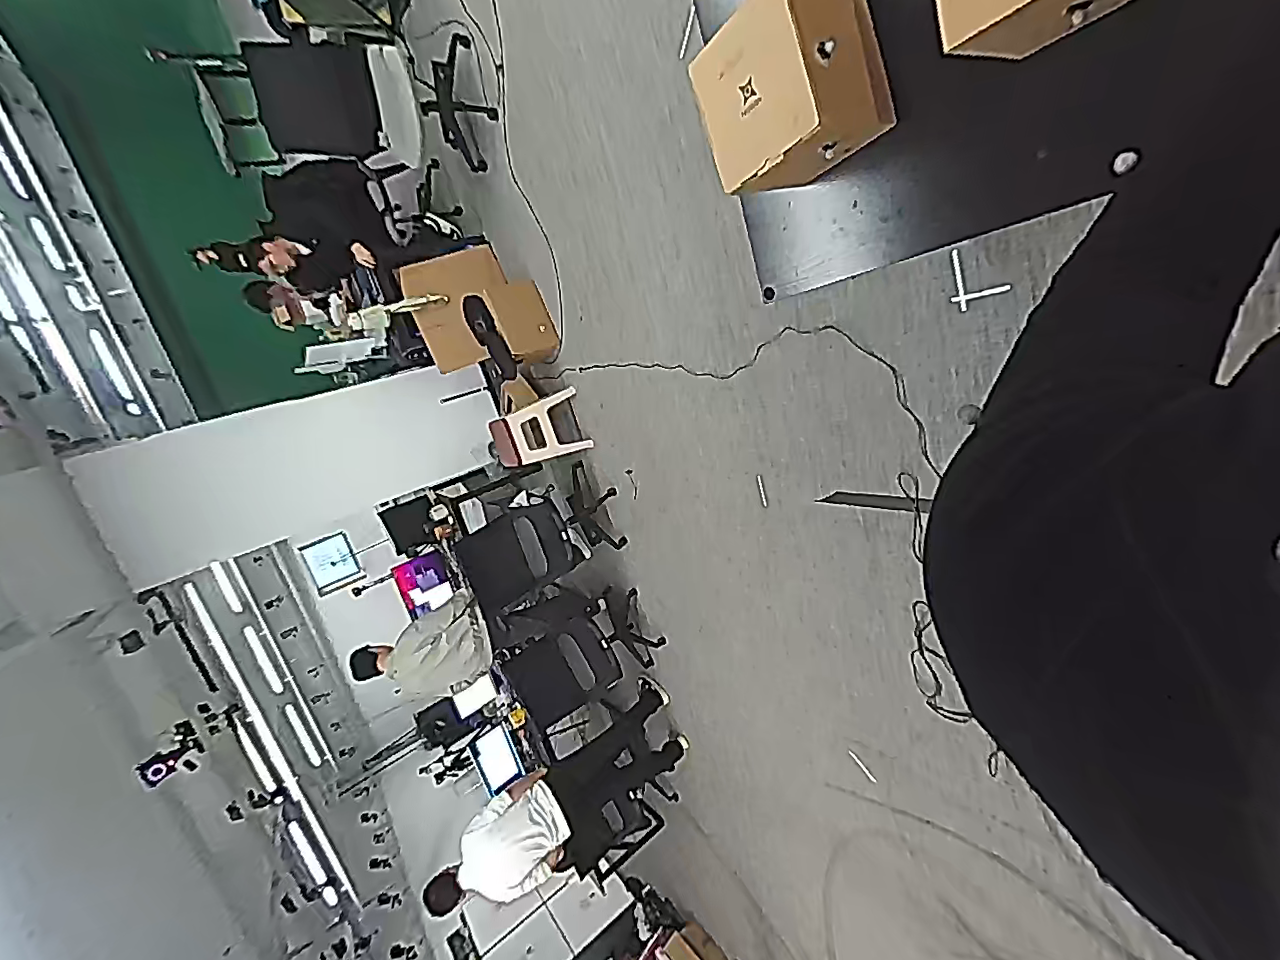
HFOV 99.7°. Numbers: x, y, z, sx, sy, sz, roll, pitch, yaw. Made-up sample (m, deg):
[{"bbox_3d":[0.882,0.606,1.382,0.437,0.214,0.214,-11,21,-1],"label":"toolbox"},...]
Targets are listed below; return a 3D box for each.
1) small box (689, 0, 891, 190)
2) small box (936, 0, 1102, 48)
[{"bbox_3d":[0.199,-0.515,0.711,0.168,0.176,0.179,-6,106,58],"label":"small box"},{"bbox_3d":[0.364,-0.505,0.451,0.168,0.176,0.179,5,115,56],"label":"small box"}]
